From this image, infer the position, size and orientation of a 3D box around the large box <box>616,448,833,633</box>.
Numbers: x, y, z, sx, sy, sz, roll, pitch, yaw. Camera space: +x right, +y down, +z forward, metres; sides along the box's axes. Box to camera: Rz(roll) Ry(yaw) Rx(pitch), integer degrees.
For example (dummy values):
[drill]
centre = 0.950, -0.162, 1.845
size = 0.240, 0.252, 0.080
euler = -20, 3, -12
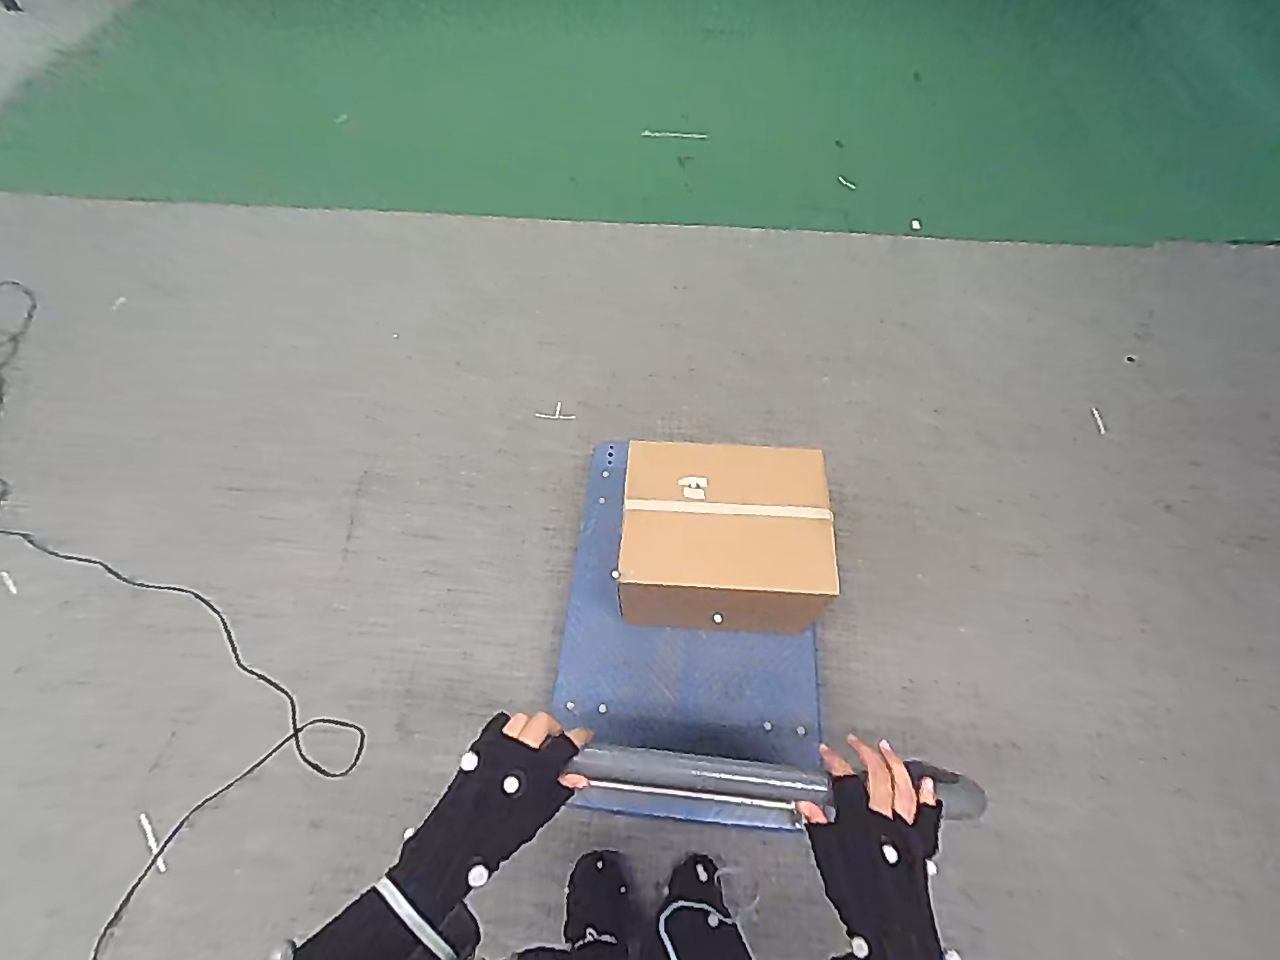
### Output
[large box]
centre = 0.166, 0.142, 1.187
size = 0.408, 0.320, 0.320
euler = 2, 60, 3
